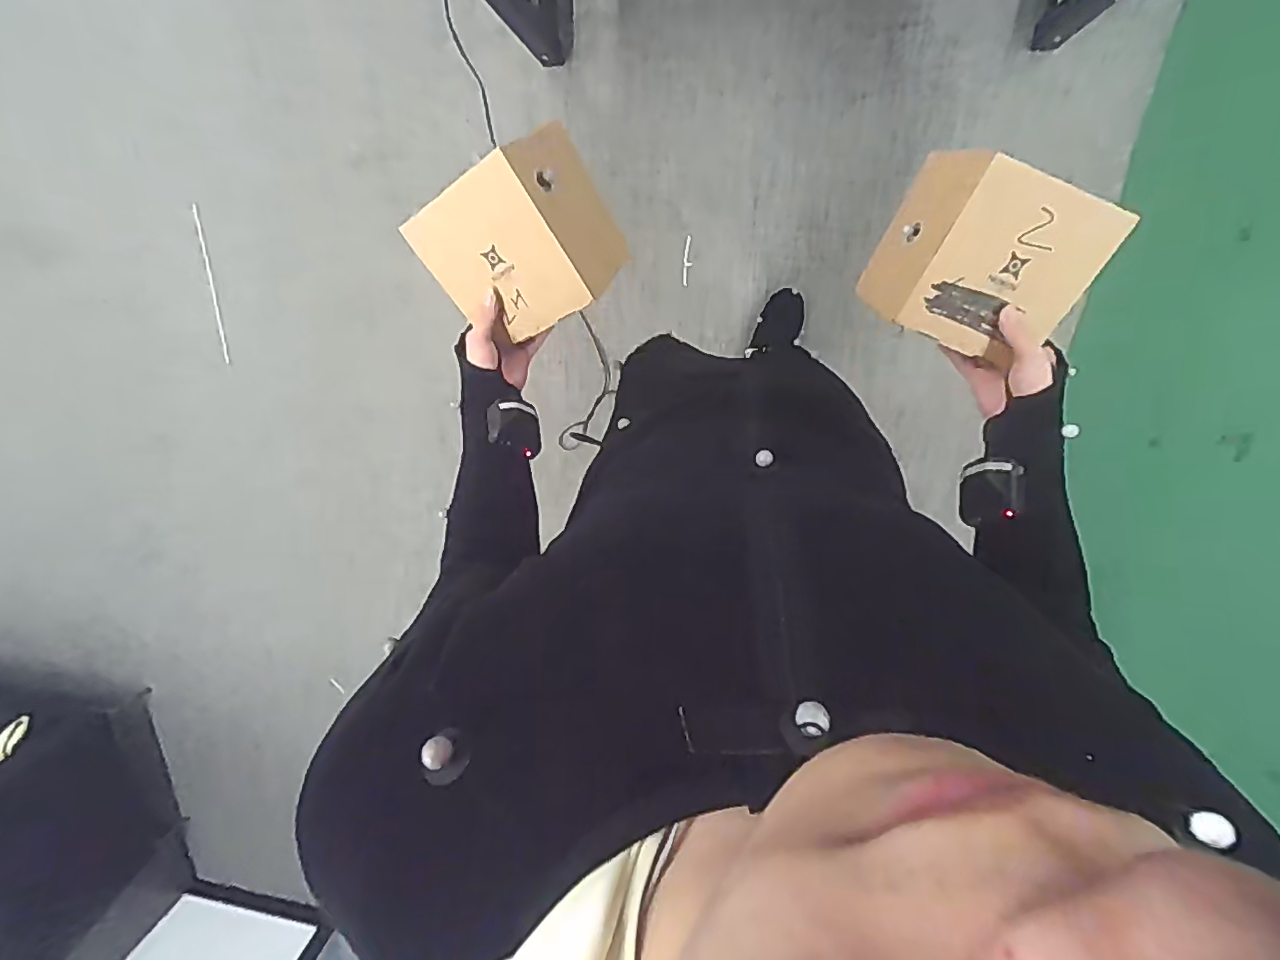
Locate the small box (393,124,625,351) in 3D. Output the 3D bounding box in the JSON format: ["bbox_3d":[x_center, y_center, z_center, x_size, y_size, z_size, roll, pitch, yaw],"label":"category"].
[{"bbox_3d":[-0.143,-0.292,0.647,0.168,0.176,0.179,-17,124,30],"label":"small box"}]

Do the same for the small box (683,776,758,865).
[{"bbox_3d":[0.227,0.977,1.532,0.179,0.176,0.168,11,110,6],"label":"small box"}]

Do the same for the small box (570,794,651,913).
[{"bbox_3d":[-0.071,0.963,1.406,0.168,0.176,0.179,13,112,7],"label":"small box"}]
